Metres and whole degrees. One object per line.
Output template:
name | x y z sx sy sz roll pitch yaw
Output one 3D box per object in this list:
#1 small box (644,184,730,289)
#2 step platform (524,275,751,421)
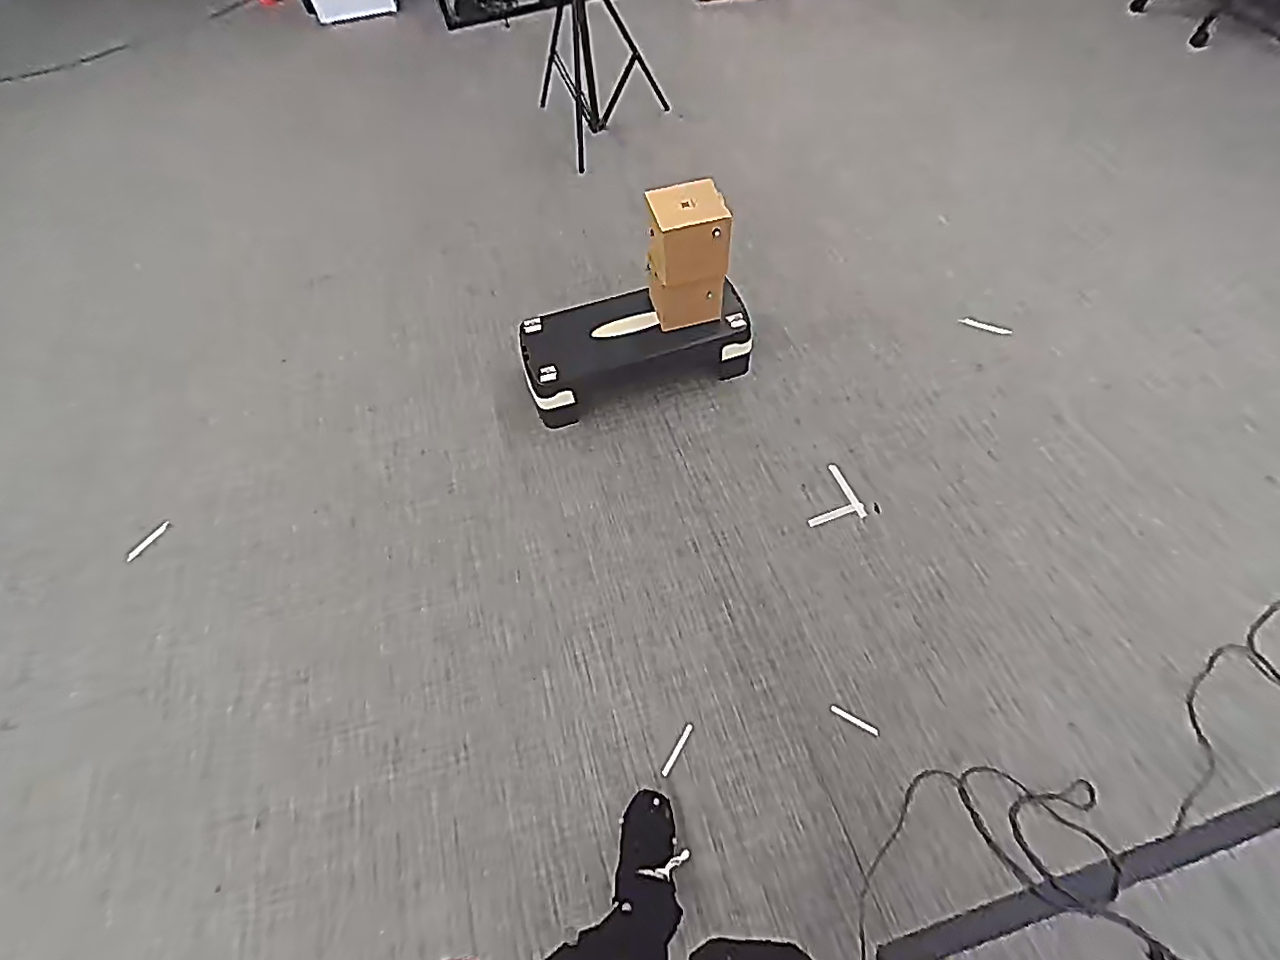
small box | 0.119 -0.618 1.386 0.179 0.176 0.168 -14 60 -5
step platform | -0.009 -0.424 1.673 0.684 0.204 0.286 -18 60 -5
